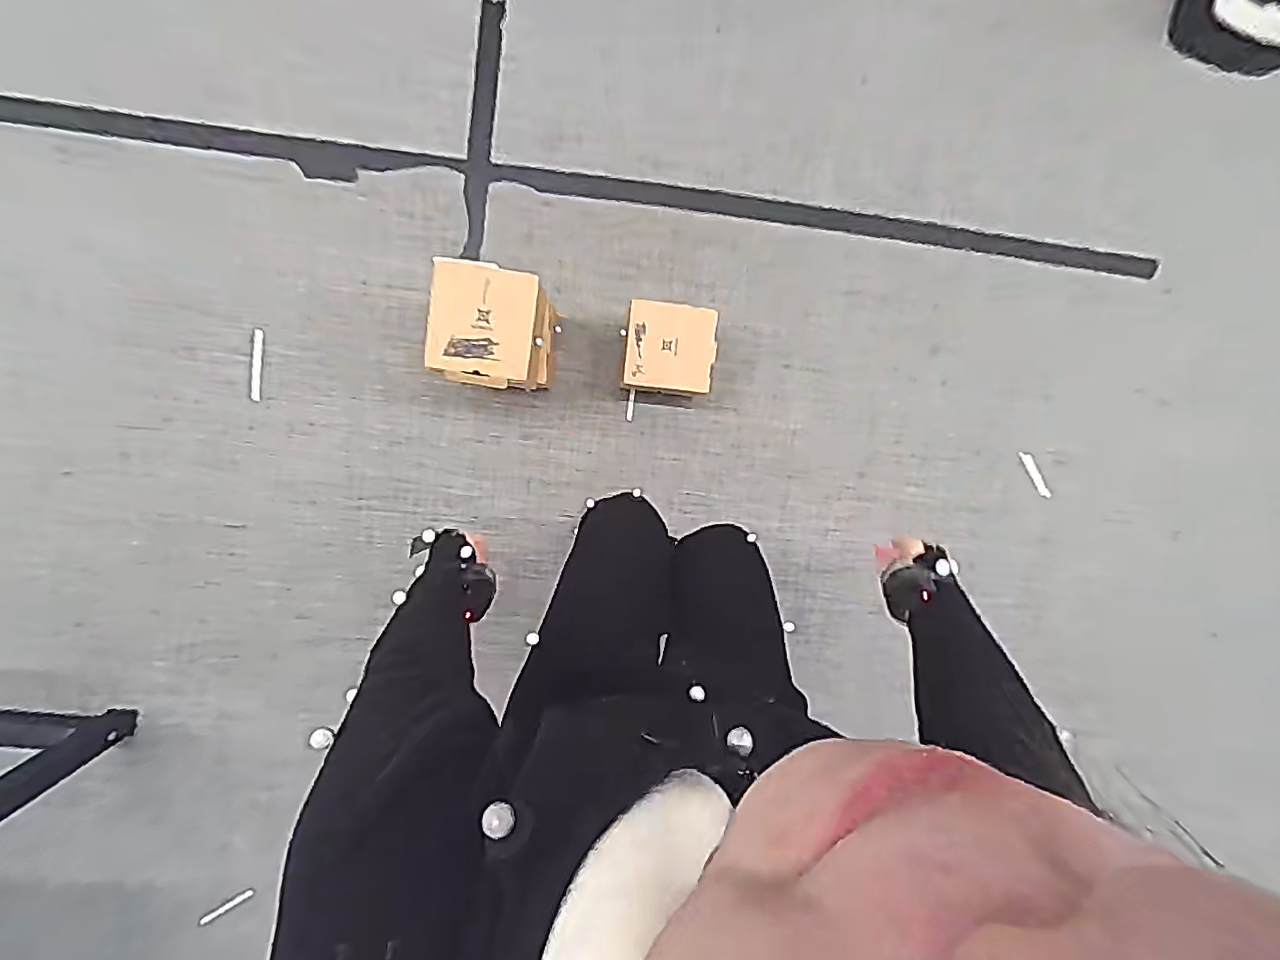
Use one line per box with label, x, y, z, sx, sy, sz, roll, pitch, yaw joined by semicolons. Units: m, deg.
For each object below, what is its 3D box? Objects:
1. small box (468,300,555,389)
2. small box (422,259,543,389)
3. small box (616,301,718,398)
small box;-0.269;-0.278;1.105;0.179;0.176;0.168;5;96;-6
small box;-0.264;-0.259;0.942;0.168;0.176;0.179;8;94;-7
small box;0.049;-0.265;1.136;0.179;0.176;0.168;6;95;-7
